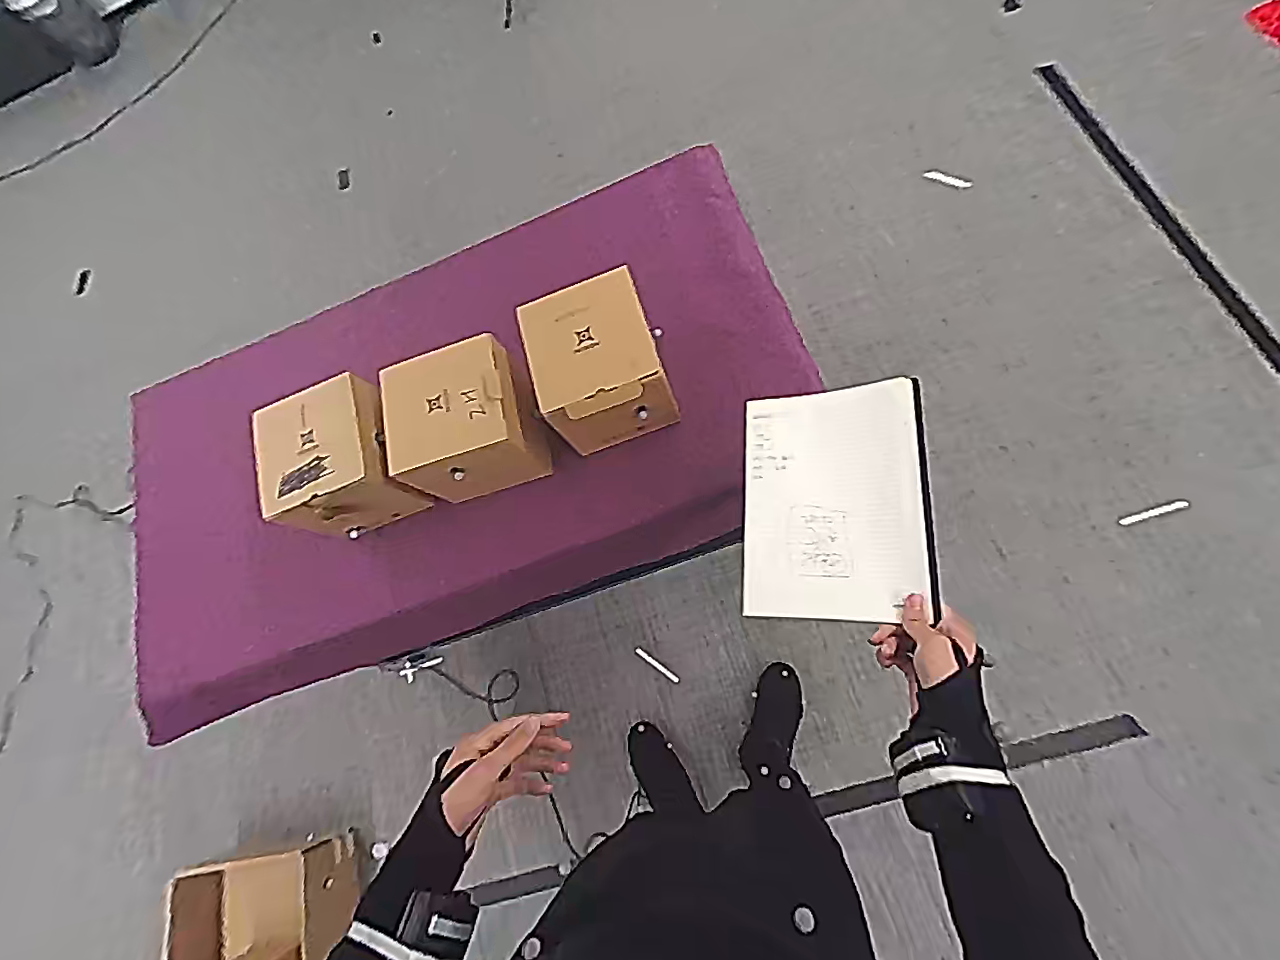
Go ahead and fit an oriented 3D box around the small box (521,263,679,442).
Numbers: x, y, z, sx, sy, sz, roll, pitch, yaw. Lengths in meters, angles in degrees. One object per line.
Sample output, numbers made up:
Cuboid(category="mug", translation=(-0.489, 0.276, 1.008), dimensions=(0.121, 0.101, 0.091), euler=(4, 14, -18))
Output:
Cuboid(category="small box", translation=(-0.050, -0.168, 0.783), dimensions=(0.168, 0.176, 0.179), euler=(-18, 71, 7))
